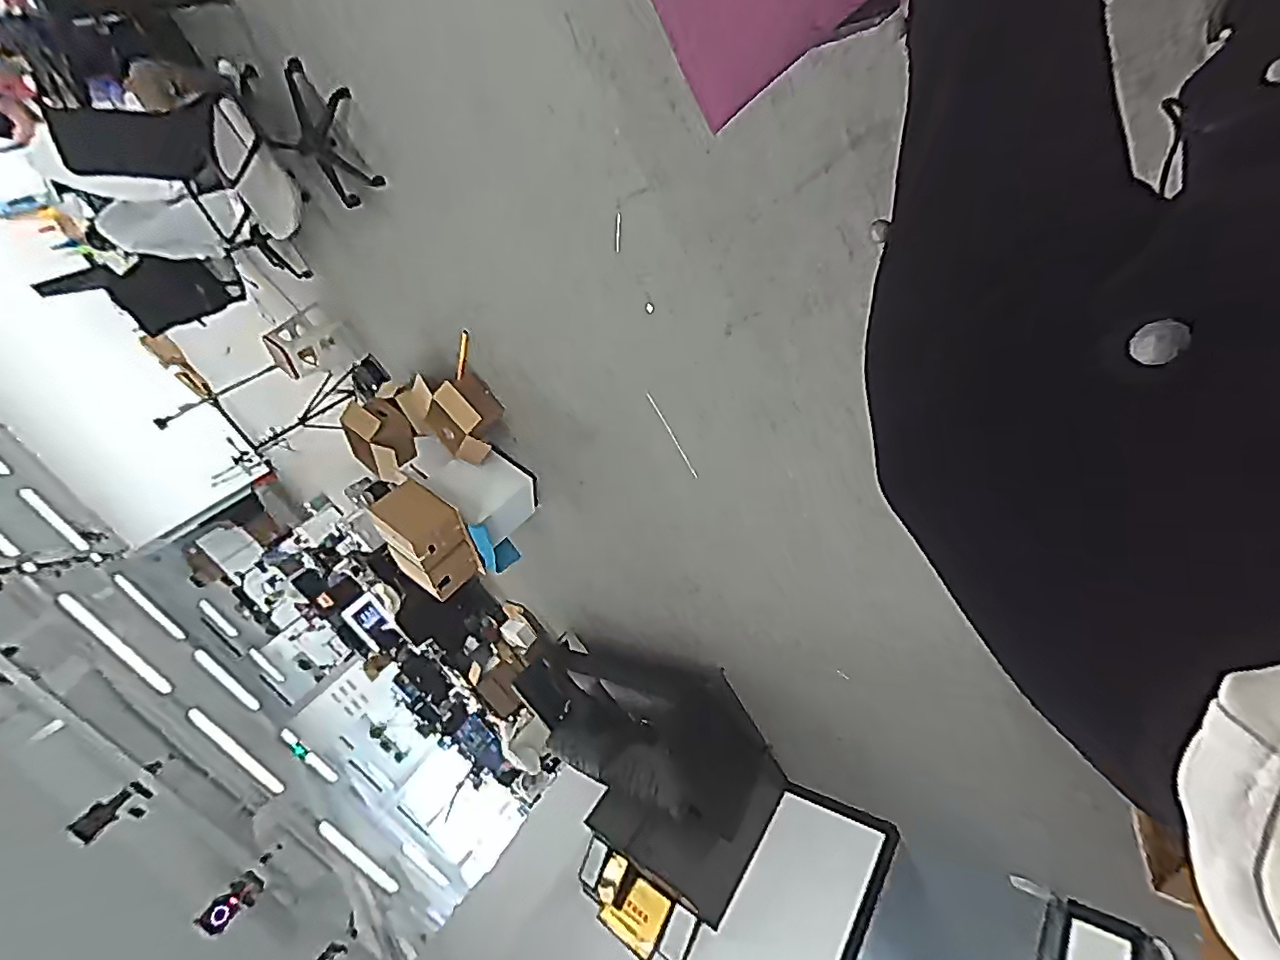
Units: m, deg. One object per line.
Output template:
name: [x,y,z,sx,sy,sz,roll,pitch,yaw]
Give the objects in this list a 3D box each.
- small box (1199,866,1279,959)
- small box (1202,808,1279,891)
small box: [1.457,1.076,1.282,0.168,0.176,0.179,-5,120,50]
small box: [1.556,0.986,1.374,0.168,0.176,0.179,-5,121,49]
